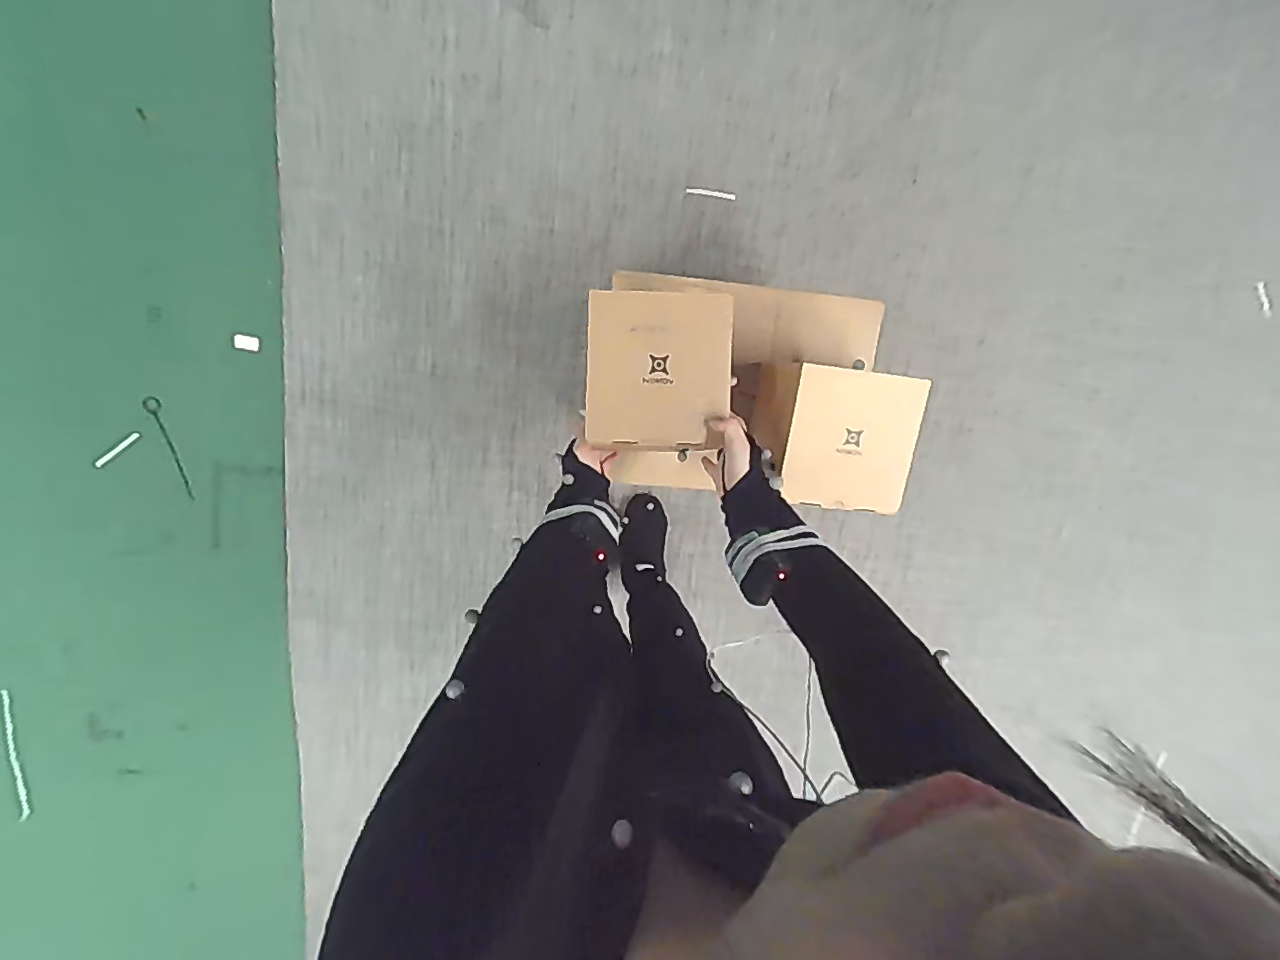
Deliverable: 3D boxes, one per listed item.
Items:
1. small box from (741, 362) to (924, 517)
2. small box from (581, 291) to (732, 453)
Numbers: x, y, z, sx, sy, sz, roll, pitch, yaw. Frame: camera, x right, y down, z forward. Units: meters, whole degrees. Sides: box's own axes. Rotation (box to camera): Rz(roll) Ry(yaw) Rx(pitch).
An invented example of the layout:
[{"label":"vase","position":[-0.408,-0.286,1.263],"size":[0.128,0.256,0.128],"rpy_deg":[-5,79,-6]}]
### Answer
[{"label":"small box","position":[0.250,-0.064,0.749],"size":[0.168,0.176,0.179],"rpy_deg":[7,104,-6]},{"label":"small box","position":[0.017,-0.125,0.693],"size":[0.168,0.176,0.179],"rpy_deg":[3,91,-2]}]
